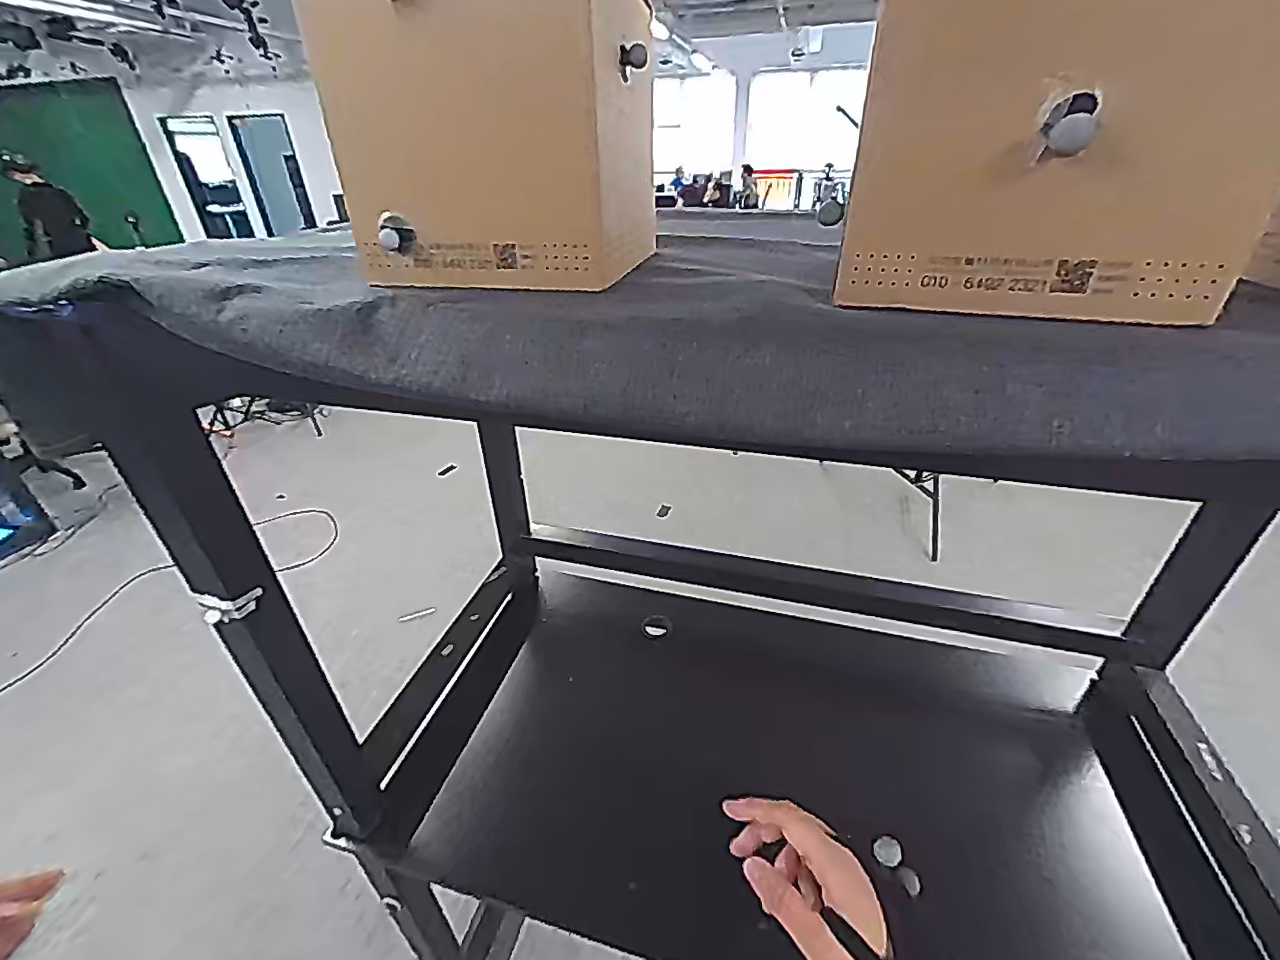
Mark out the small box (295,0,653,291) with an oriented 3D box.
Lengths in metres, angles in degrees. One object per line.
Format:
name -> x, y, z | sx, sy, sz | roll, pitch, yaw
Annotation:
small box -> -0.085, -0.232, 0.375 | 0.168, 0.176, 0.179 | 5, 30, 11

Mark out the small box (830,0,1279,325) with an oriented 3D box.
small box -> 0.205, -0.190, 0.296 | 0.168, 0.176, 0.179 | 9, 32, 16
